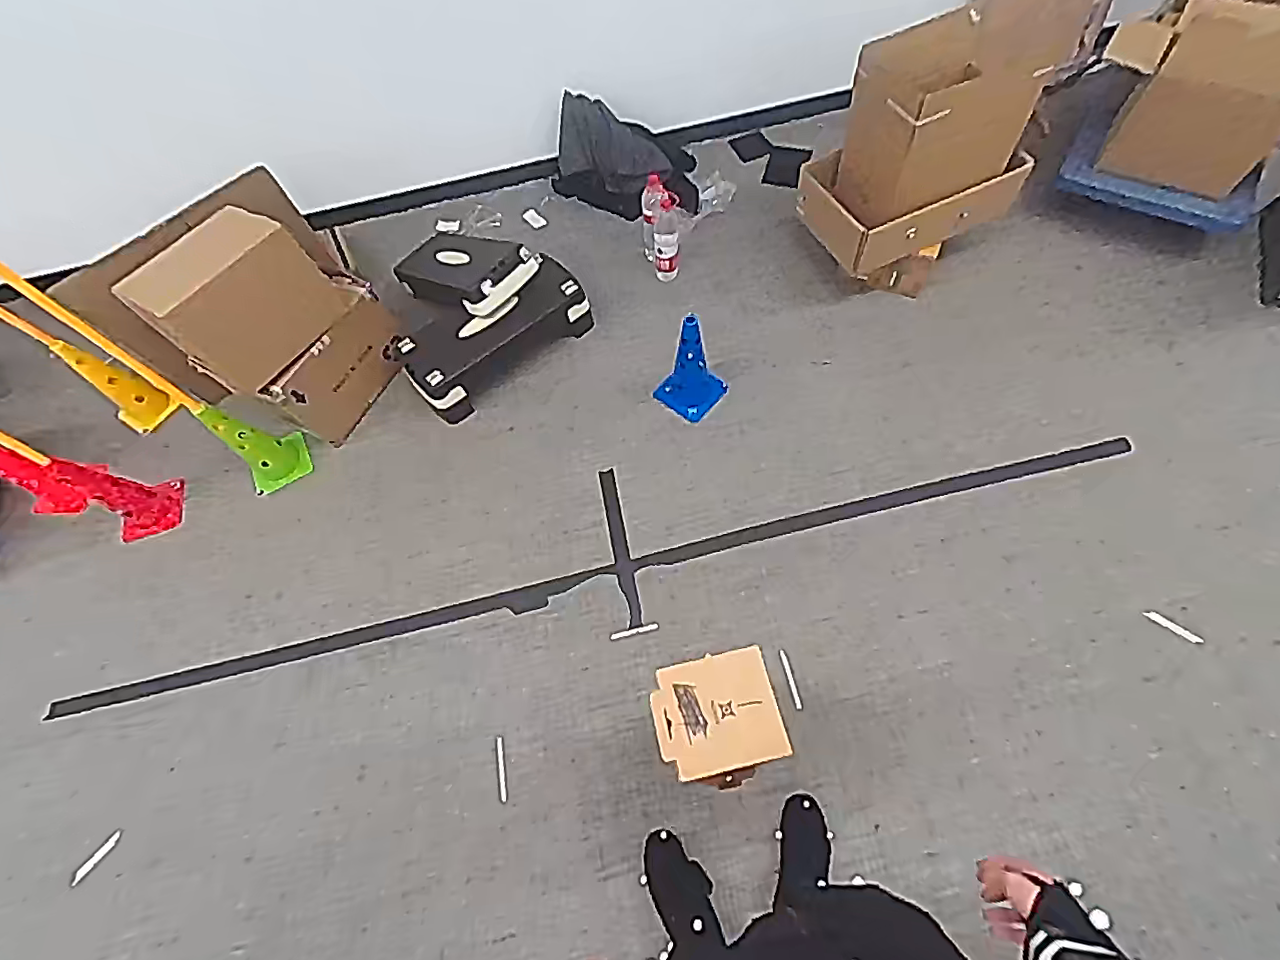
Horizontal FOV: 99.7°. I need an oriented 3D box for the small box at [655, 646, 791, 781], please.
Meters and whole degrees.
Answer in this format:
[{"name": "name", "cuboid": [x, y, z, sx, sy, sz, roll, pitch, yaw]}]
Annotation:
[{"name": "small box", "cuboid": [0.131, 0.393, 0.903, 0.179, 0.176, 0.168, -13, 63, -2]}]
